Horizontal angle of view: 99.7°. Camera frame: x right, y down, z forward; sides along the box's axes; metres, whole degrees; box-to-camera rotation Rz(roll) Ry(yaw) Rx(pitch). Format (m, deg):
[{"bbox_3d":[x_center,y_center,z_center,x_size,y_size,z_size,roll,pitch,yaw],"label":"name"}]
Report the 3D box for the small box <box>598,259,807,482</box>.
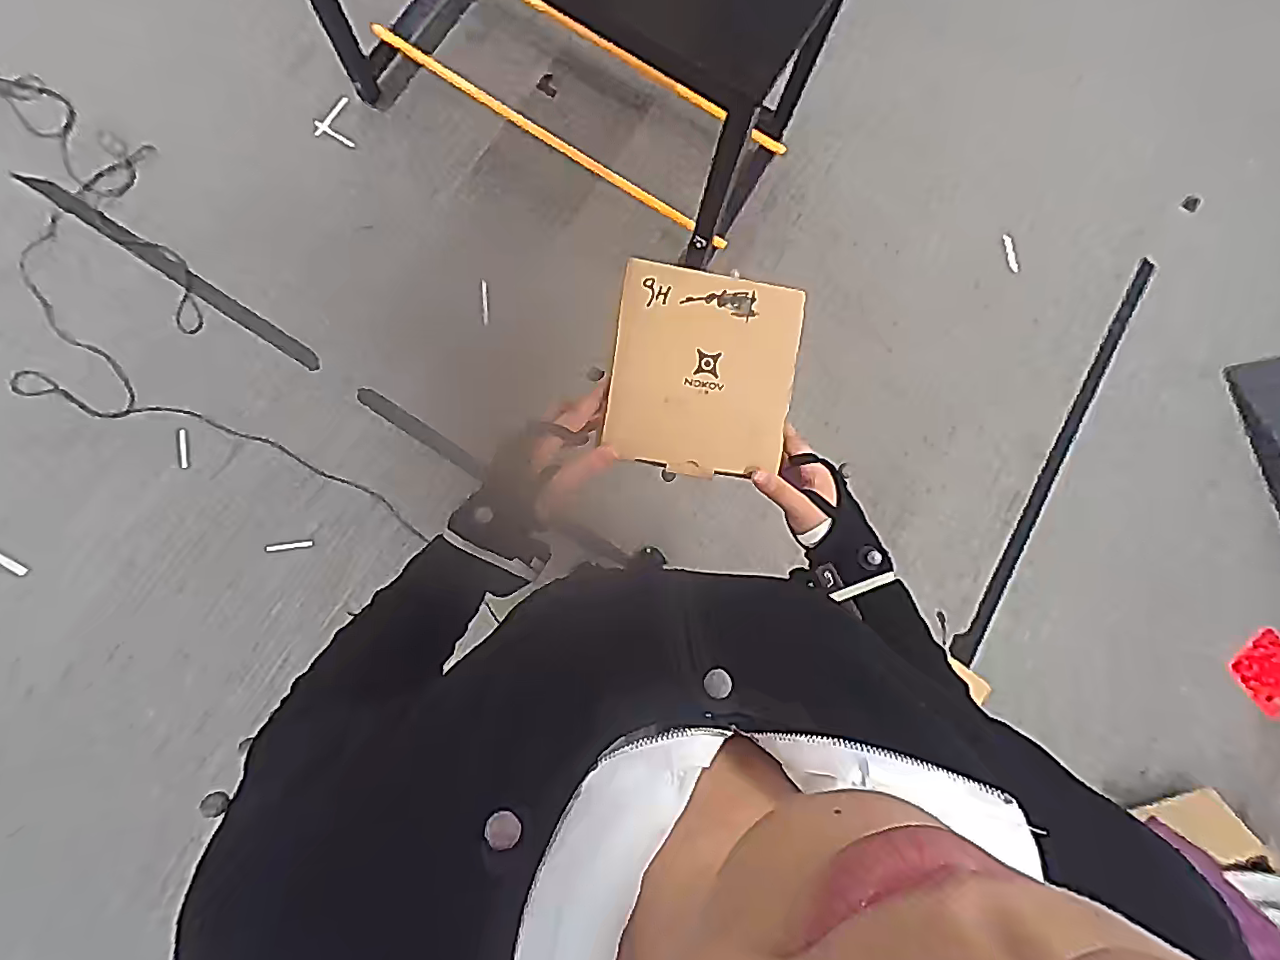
[{"bbox_3d":[0.048,-0.102,0.558,0.168,0.176,0.179,7,95,-8],"label":"small box"}]
